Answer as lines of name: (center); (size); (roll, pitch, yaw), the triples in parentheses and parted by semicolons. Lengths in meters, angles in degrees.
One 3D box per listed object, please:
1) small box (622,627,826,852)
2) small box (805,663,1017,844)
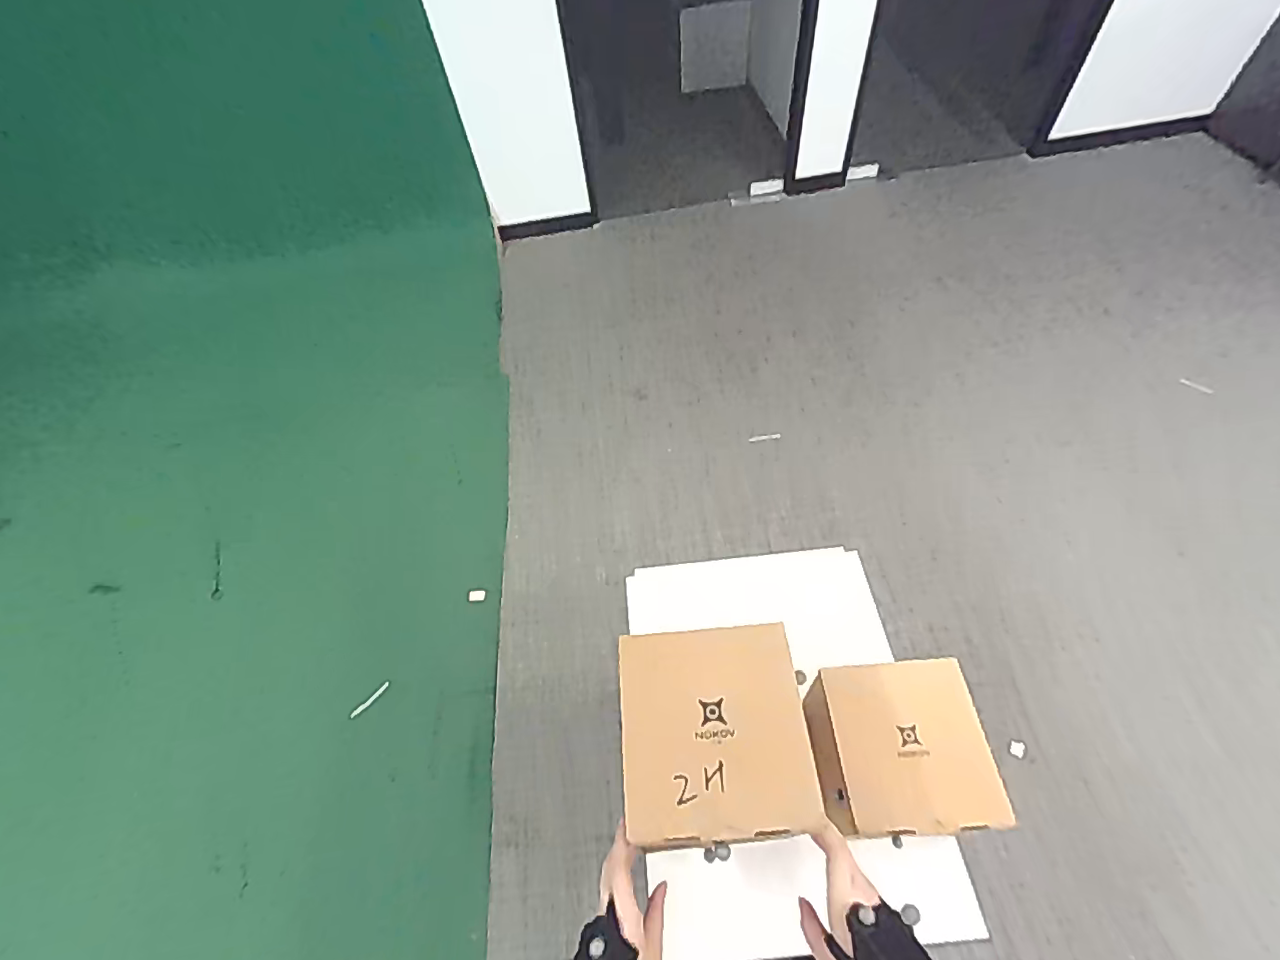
small box: (0.072, 0.268, 0.551); (0.168, 0.176, 0.179); (-6, 55, 3)
small box: (0.312, 0.343, 0.673); (0.168, 0.176, 0.179); (-6, 56, 4)
